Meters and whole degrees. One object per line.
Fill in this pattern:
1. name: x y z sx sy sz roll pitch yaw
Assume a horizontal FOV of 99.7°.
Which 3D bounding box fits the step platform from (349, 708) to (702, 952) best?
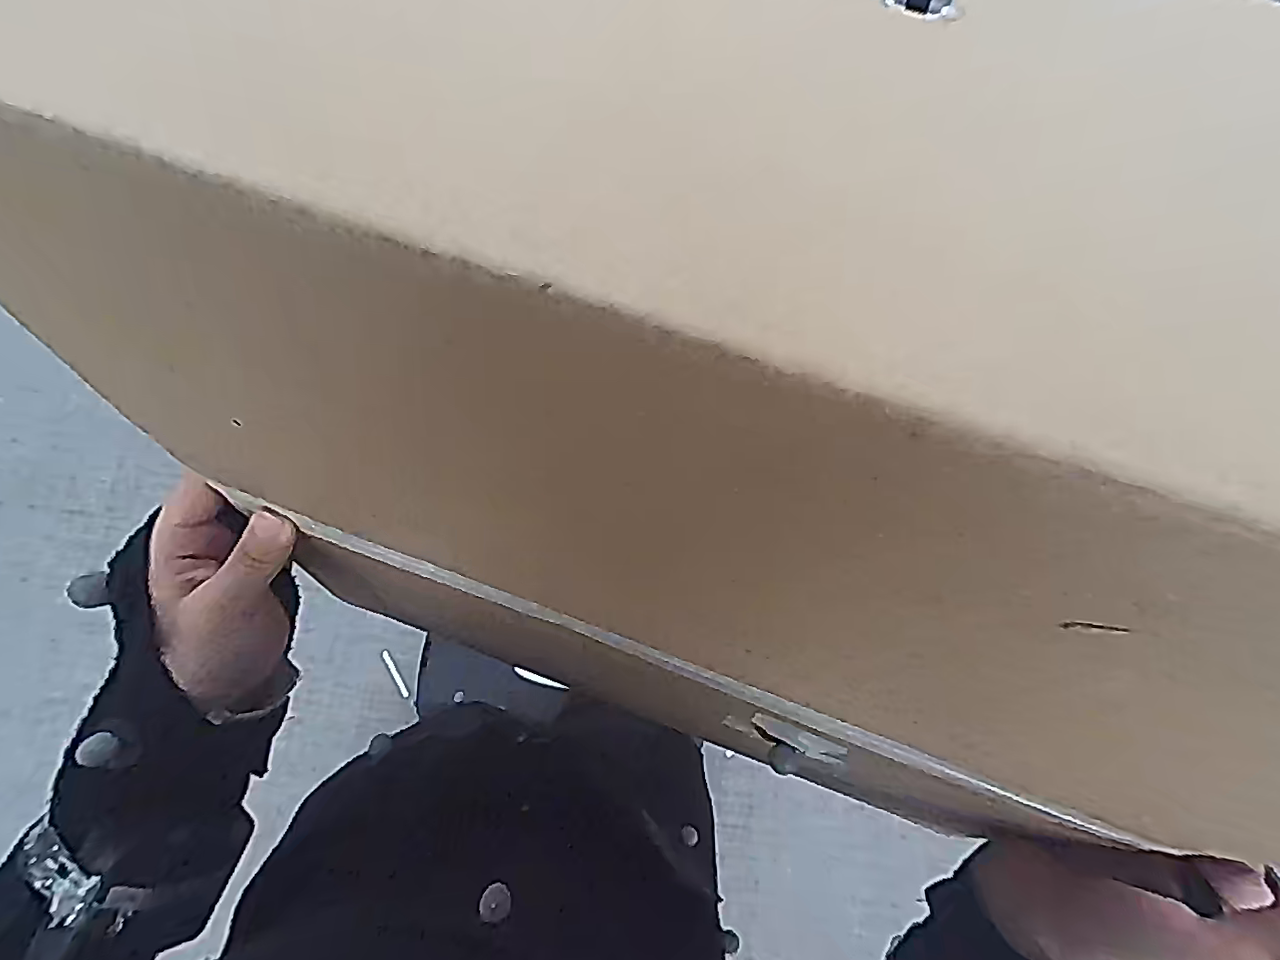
1. step platform: -0.217 0.705 1.123 0.684 0.204 0.286 15 75 0
